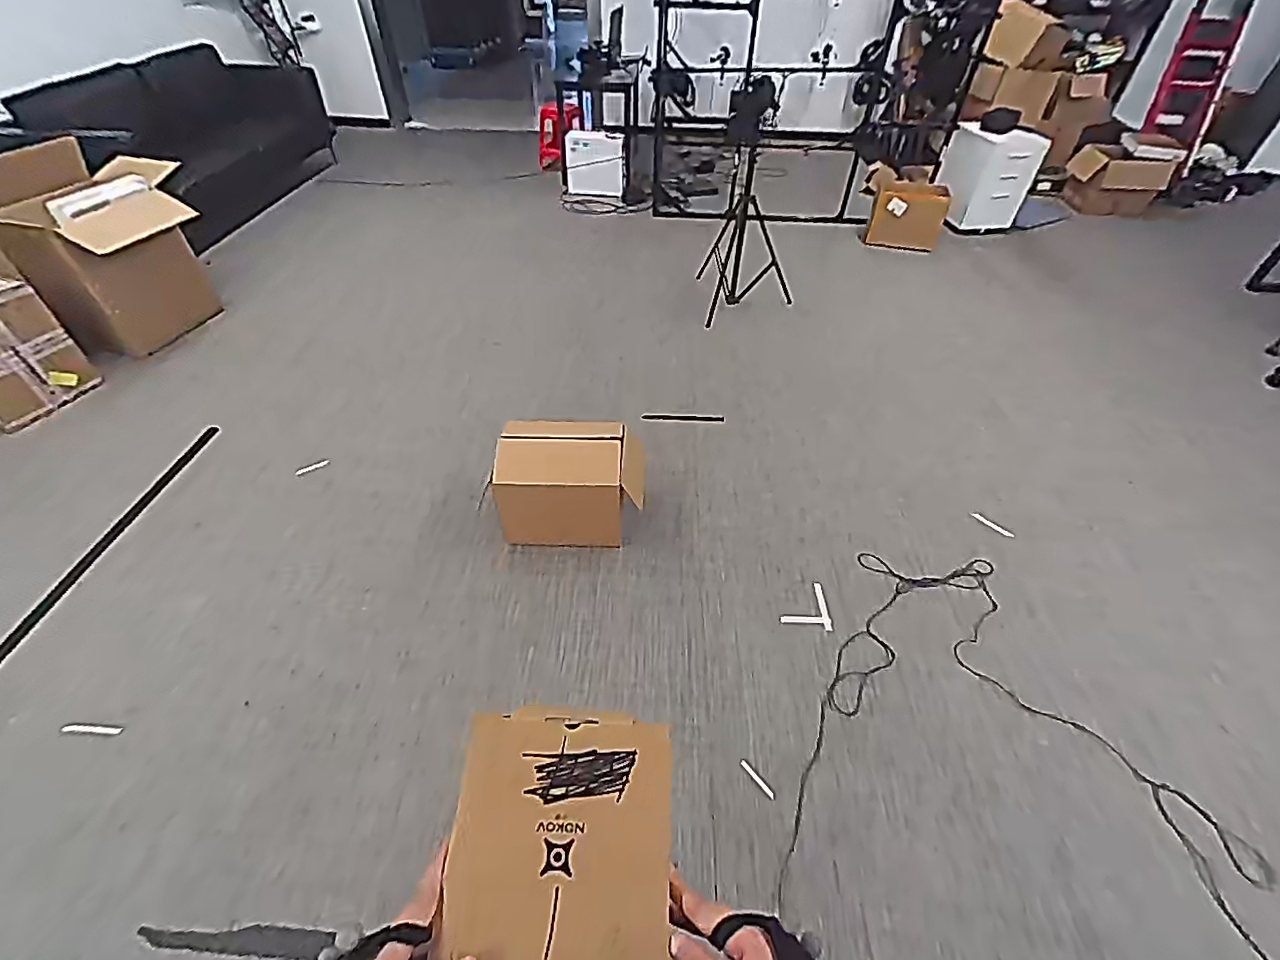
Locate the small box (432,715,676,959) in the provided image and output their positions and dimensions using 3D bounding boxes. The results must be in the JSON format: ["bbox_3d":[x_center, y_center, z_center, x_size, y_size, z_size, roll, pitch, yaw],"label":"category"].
[{"bbox_3d":[-0.061,0.319,0.465,0.168,0.176,0.179,3,53,-2],"label":"small box"}]
